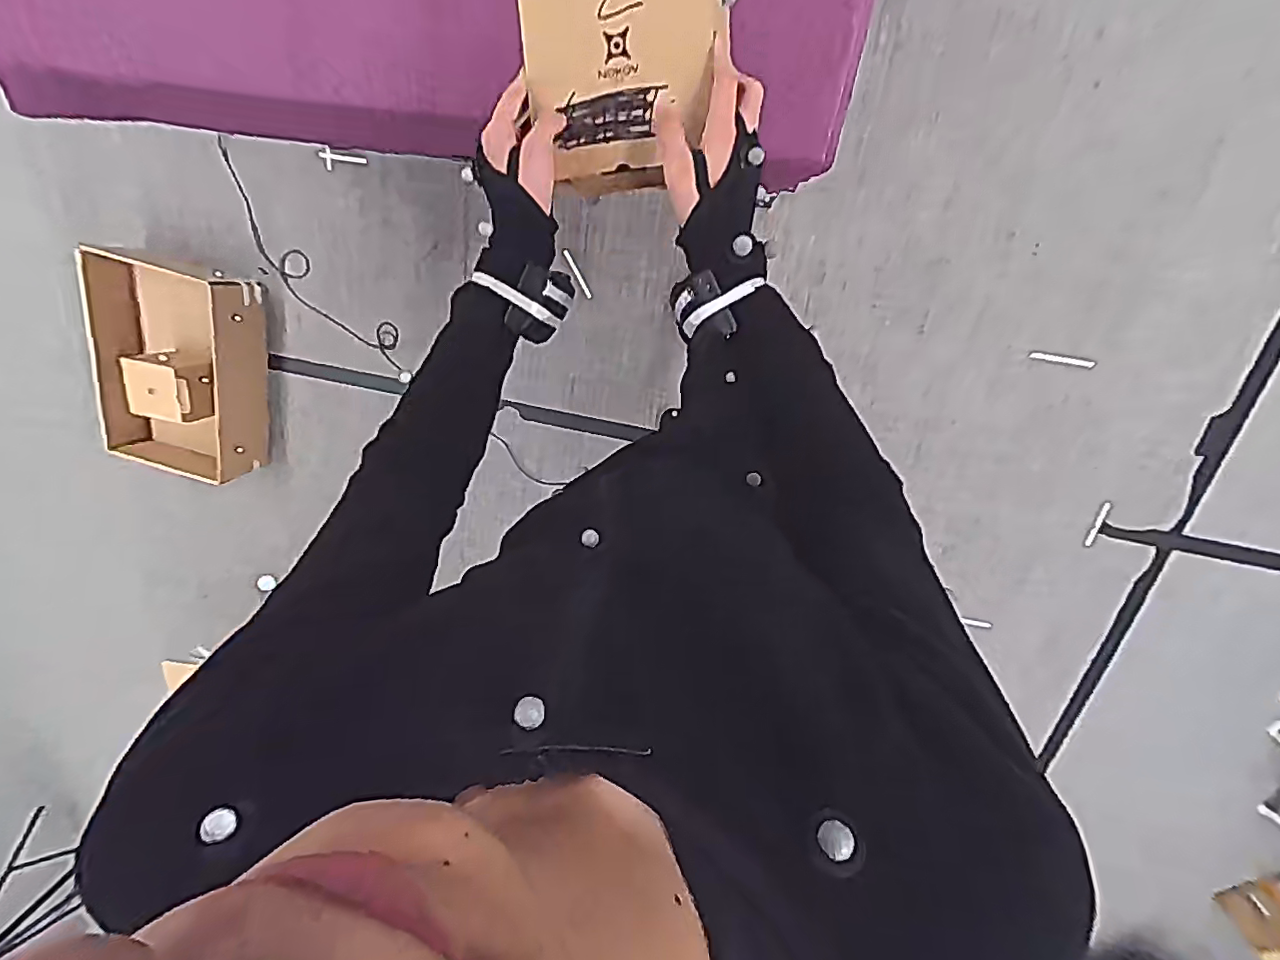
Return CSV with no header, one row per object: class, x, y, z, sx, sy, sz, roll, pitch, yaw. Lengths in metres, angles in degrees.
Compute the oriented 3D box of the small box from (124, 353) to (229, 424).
small box,-1.378,-0.282,1.626,0.179,0.176,0.168,12,111,5
